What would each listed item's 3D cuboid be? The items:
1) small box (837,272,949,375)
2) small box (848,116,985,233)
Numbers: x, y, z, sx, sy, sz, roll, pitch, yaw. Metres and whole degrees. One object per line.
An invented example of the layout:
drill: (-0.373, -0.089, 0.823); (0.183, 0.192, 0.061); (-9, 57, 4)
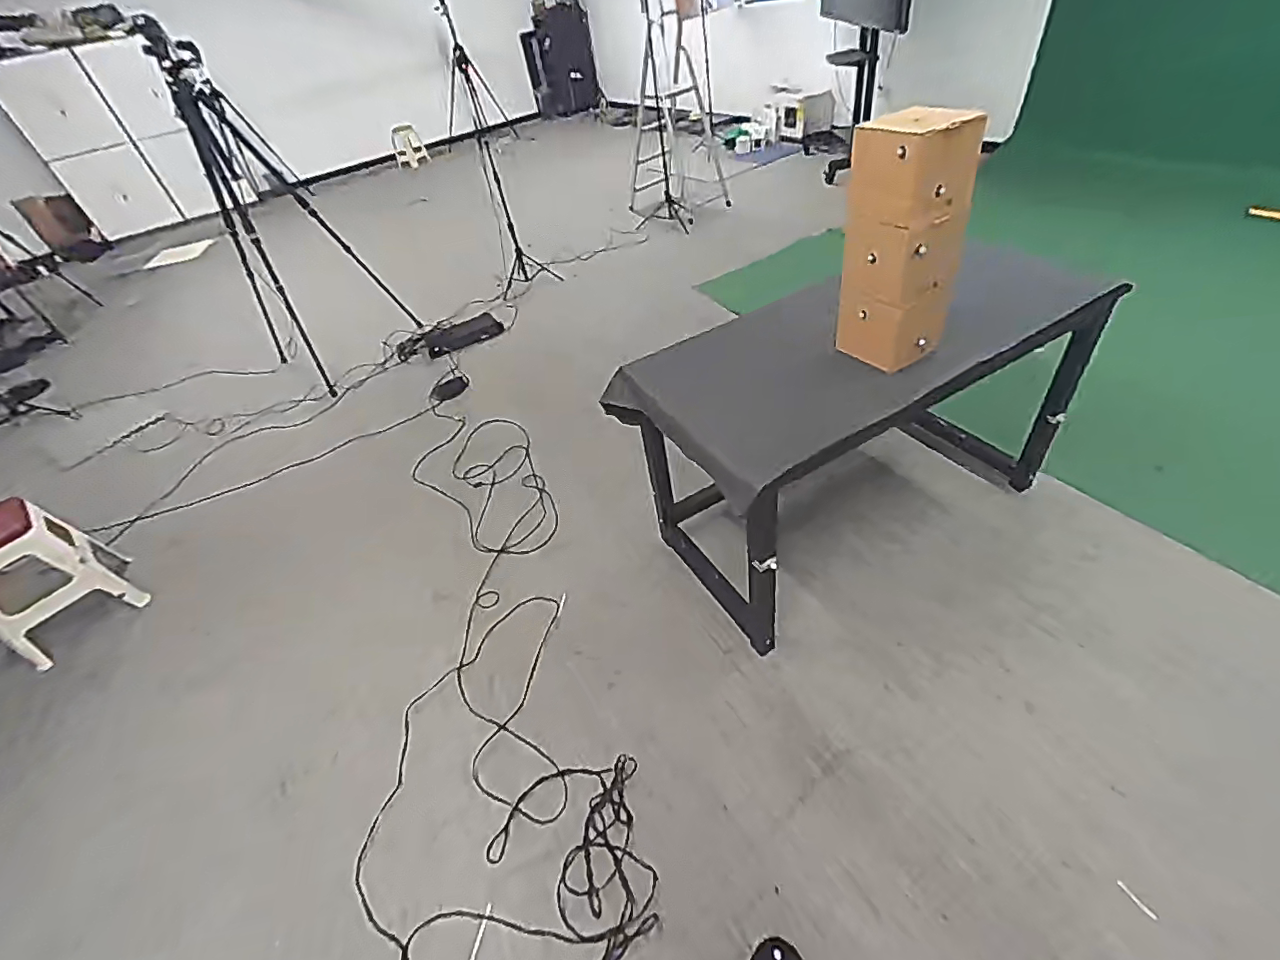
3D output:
small box: (0.603, -0.379, 1.315); (0.168, 0.176, 0.179); (-28, 44, -16)
small box: (0.550, -0.623, 1.104); (0.168, 0.176, 0.179); (-25, 43, -14)
